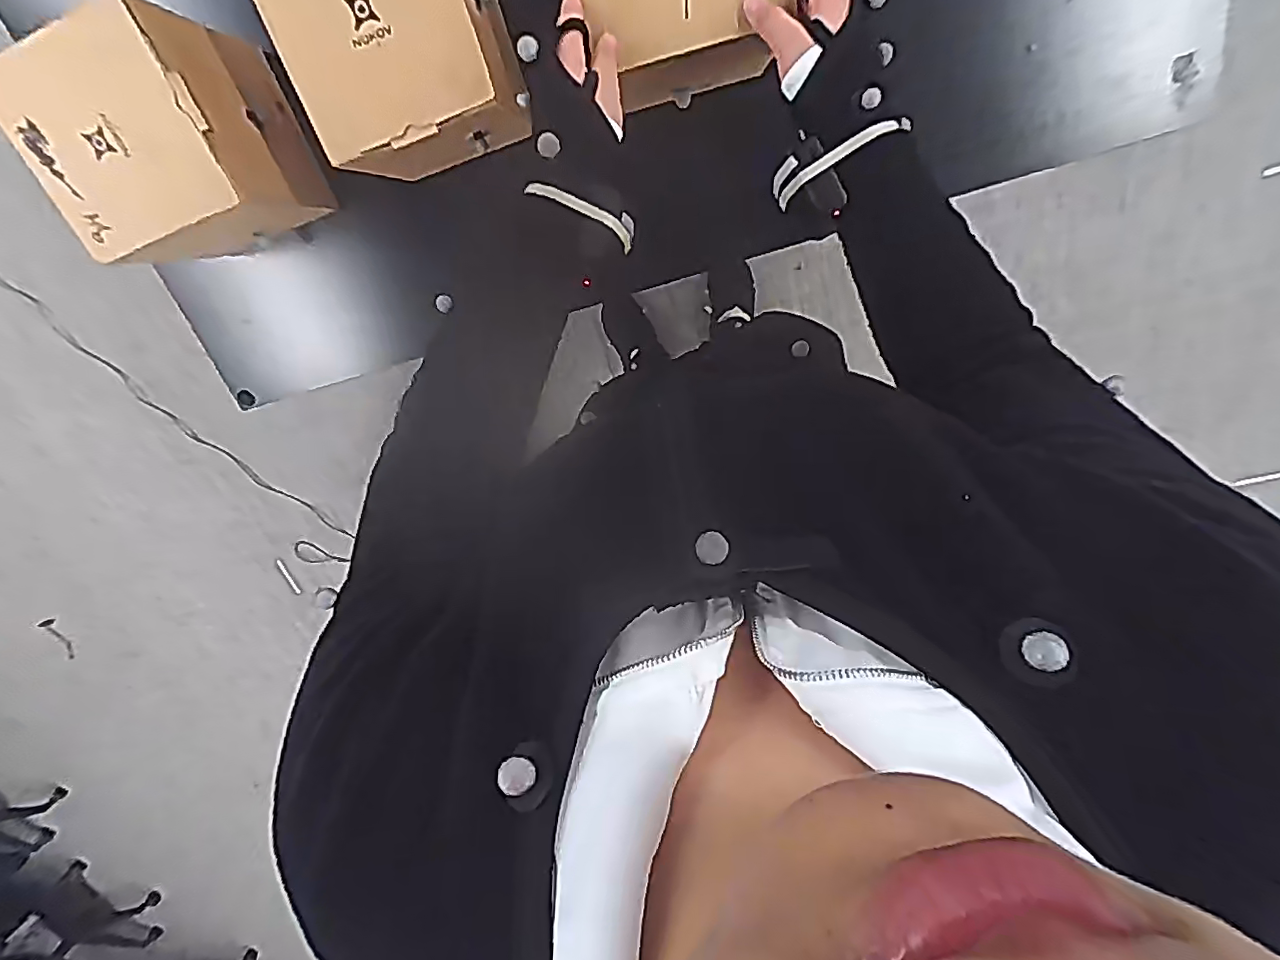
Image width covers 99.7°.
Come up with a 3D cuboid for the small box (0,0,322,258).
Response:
[{"bbox_3d":[-0.465,-0.342,0.550,0.179,0.176,0.168,-16,113,9],"label":"small box"}]

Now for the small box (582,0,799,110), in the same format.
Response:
[{"bbox_3d":[0.027,-0.453,0.464,0.168,0.176,0.179,-11,115,6],"label":"small box"}]

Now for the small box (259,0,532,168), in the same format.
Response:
[{"bbox_3d":[-0.217,-0.413,0.507,0.168,0.176,0.179,-15,113,8],"label":"small box"}]
